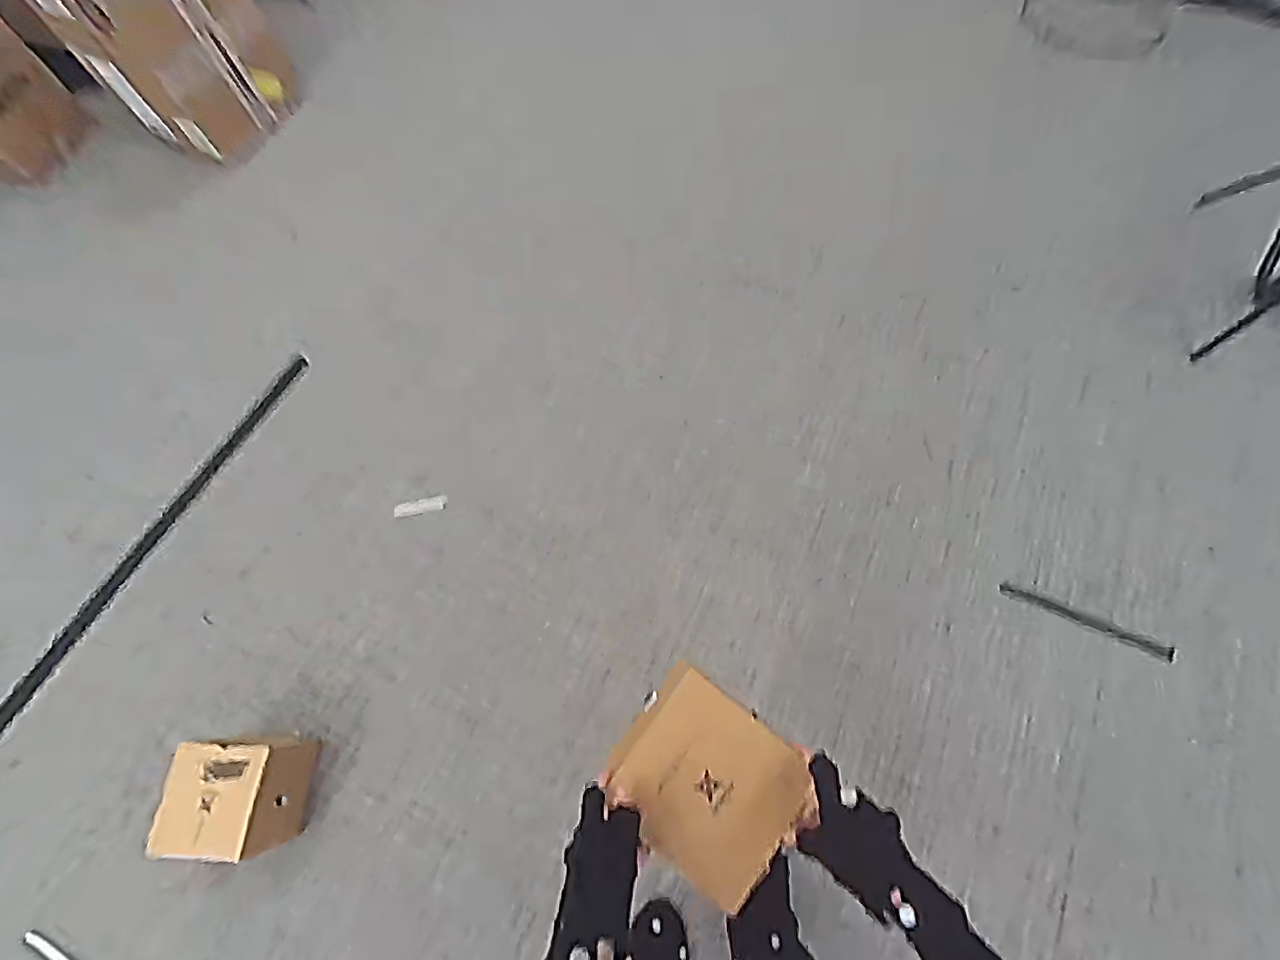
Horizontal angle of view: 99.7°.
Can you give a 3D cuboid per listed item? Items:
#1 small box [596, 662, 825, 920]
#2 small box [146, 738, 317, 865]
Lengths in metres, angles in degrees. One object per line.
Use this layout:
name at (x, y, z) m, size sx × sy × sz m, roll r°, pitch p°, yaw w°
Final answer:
small box at (0.072, 0.329, 0.621) m, size 0.179 × 0.176 × 0.168 m, roll 37°, pitch 79°, yaw 8°
small box at (-0.739, 0.583, 1.004) m, size 0.168 × 0.176 × 0.179 m, roll 3°, pitch 69°, yaw 2°
